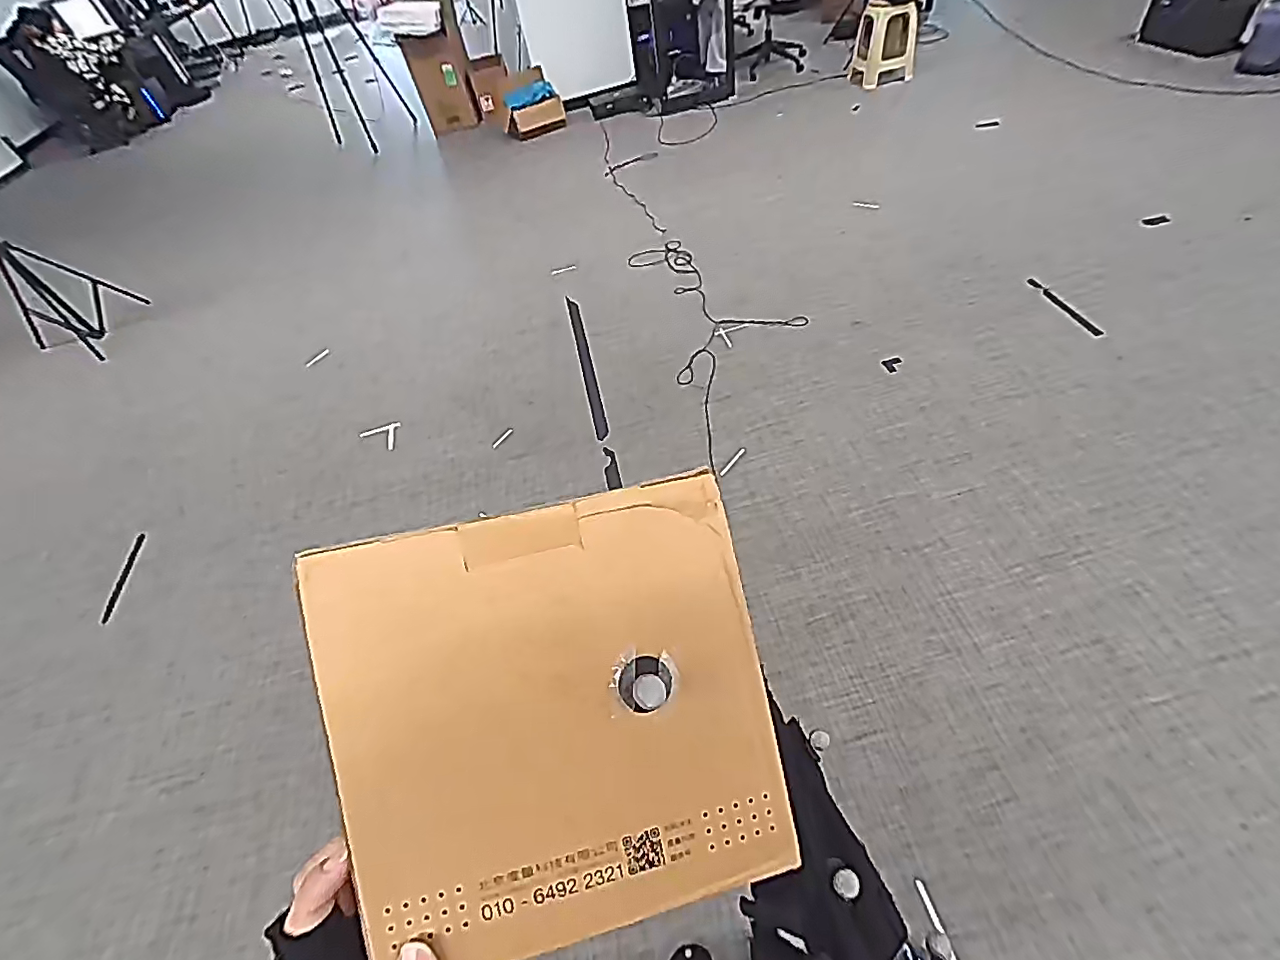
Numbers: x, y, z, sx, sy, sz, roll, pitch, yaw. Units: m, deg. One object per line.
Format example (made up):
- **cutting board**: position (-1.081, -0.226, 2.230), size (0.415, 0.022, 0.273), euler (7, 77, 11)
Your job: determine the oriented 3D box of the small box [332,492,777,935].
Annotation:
- **small box**: position (-0.039, 0.107, 0.308), size (0.168, 0.179, 0.176), euler (-11, 89, -8)
